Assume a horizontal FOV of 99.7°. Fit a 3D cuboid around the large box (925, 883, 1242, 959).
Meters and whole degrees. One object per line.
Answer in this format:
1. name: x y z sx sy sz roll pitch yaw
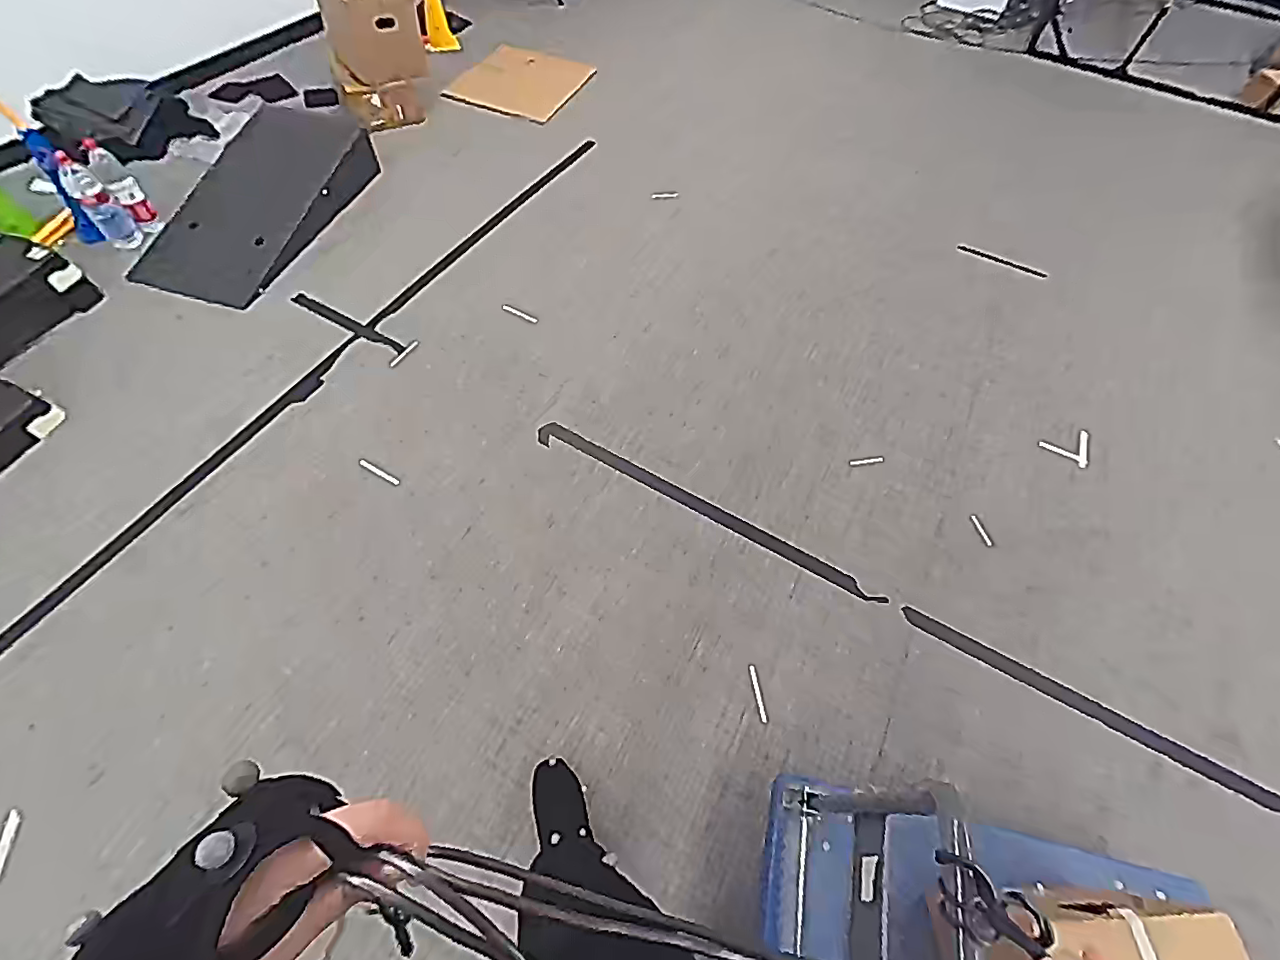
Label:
1. large box: 0.709 0.888 0.819 0.320 0.320 0.408 0 60 -4
